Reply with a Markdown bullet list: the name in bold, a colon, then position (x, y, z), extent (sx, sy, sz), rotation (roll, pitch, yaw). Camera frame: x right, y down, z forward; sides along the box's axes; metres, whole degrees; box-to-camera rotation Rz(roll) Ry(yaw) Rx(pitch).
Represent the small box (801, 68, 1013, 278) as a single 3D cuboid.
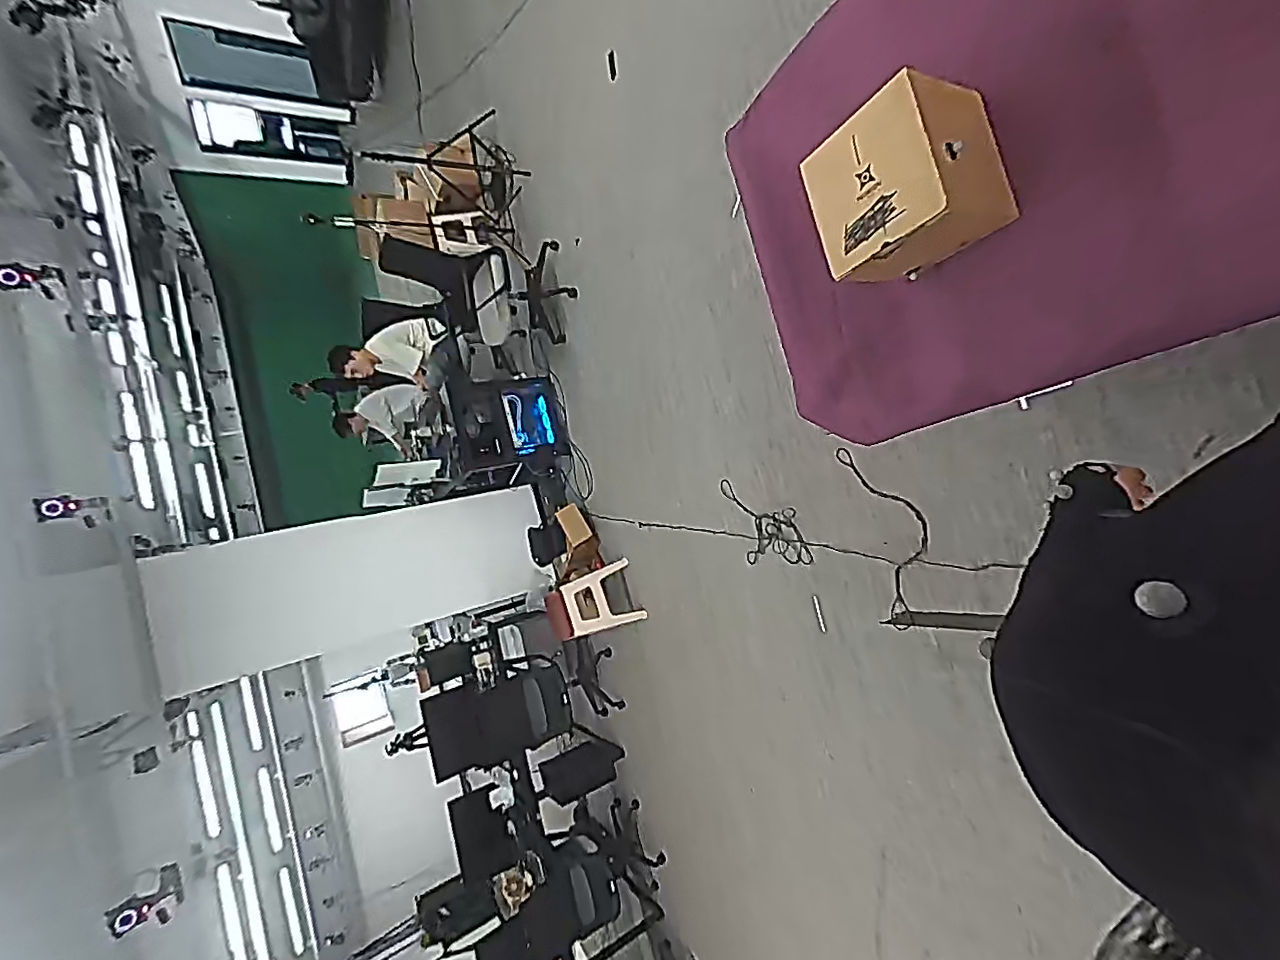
- **small box**: position (0.350, -0.388, 0.713), extent (0.168, 0.176, 0.179), rotation (-21, 83, 59)
